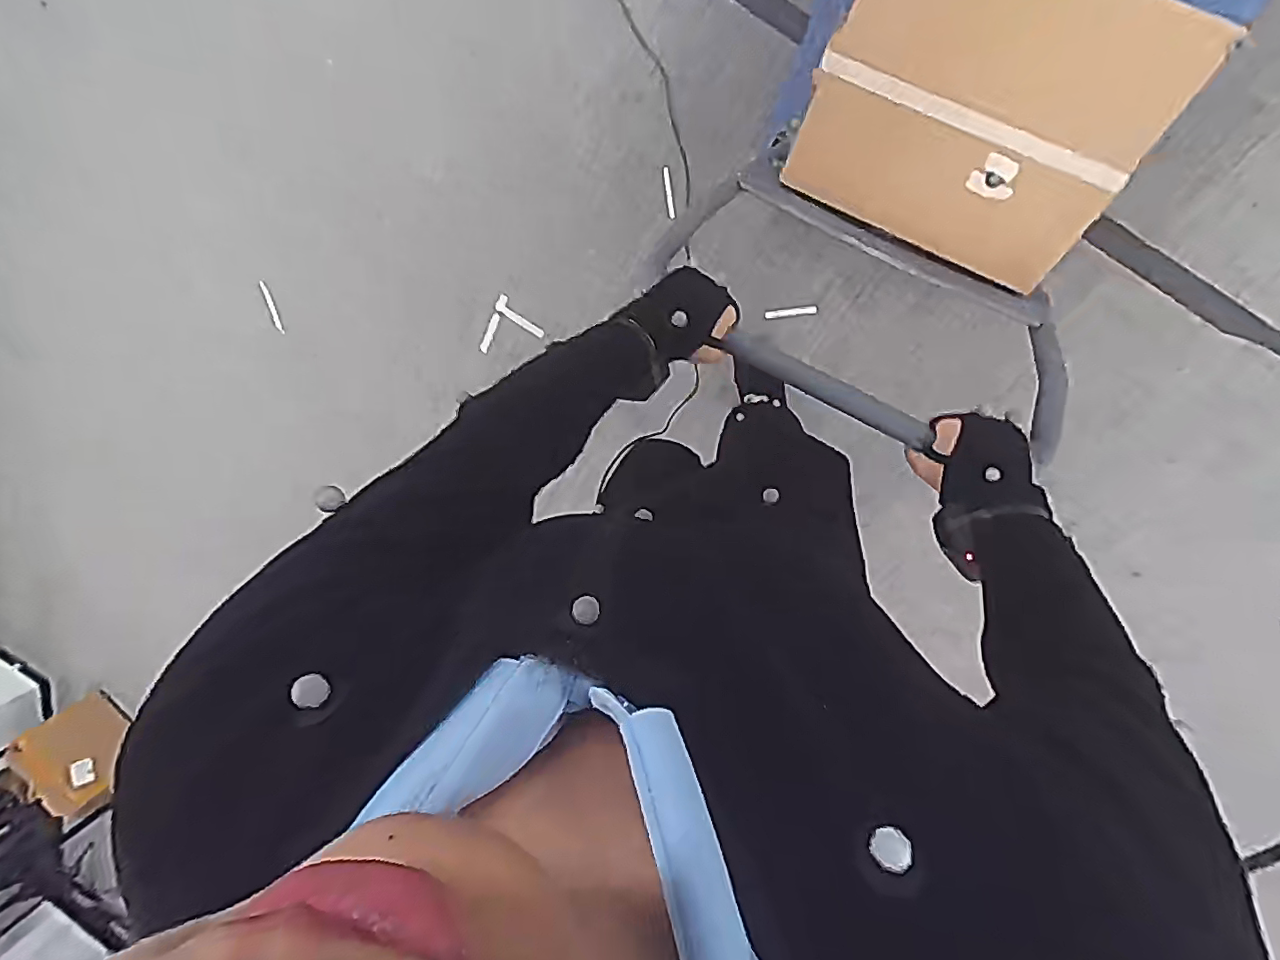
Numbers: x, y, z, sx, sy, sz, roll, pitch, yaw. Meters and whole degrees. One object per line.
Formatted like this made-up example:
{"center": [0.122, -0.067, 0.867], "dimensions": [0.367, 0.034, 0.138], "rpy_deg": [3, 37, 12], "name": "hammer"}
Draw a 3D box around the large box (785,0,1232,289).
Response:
{"center": [0.493, -0.557, 0.826], "dimensions": [0.408, 0.320, 0.320], "rpy_deg": [28, 133, 6], "name": "large box"}
